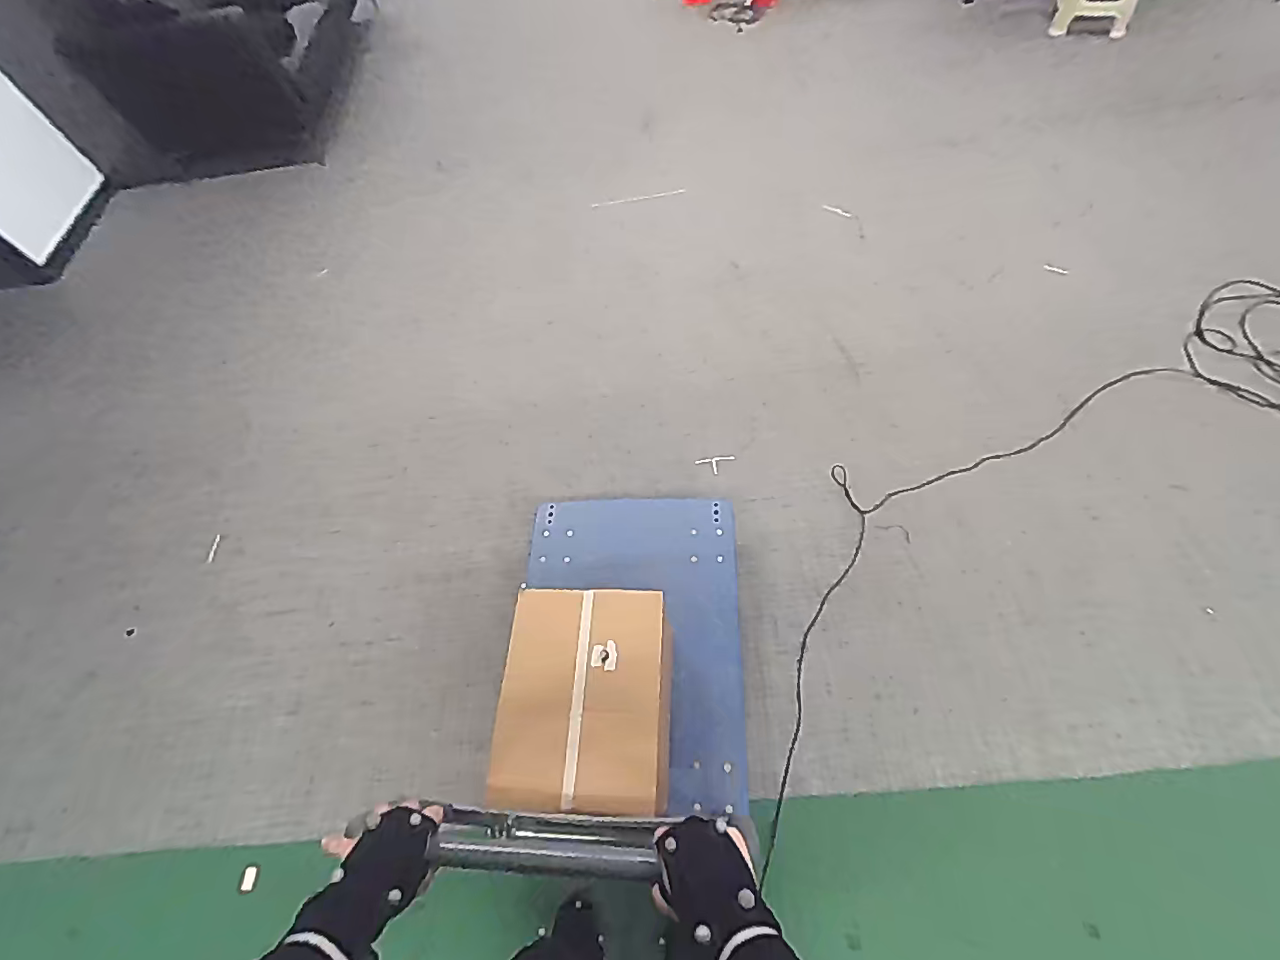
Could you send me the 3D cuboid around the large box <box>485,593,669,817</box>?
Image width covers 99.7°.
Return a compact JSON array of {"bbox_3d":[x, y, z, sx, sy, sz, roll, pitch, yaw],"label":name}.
[{"bbox_3d":[-0.102,0.490,1.171,0.320,0.320,0.408,0,58,6],"label":"large box"}]
